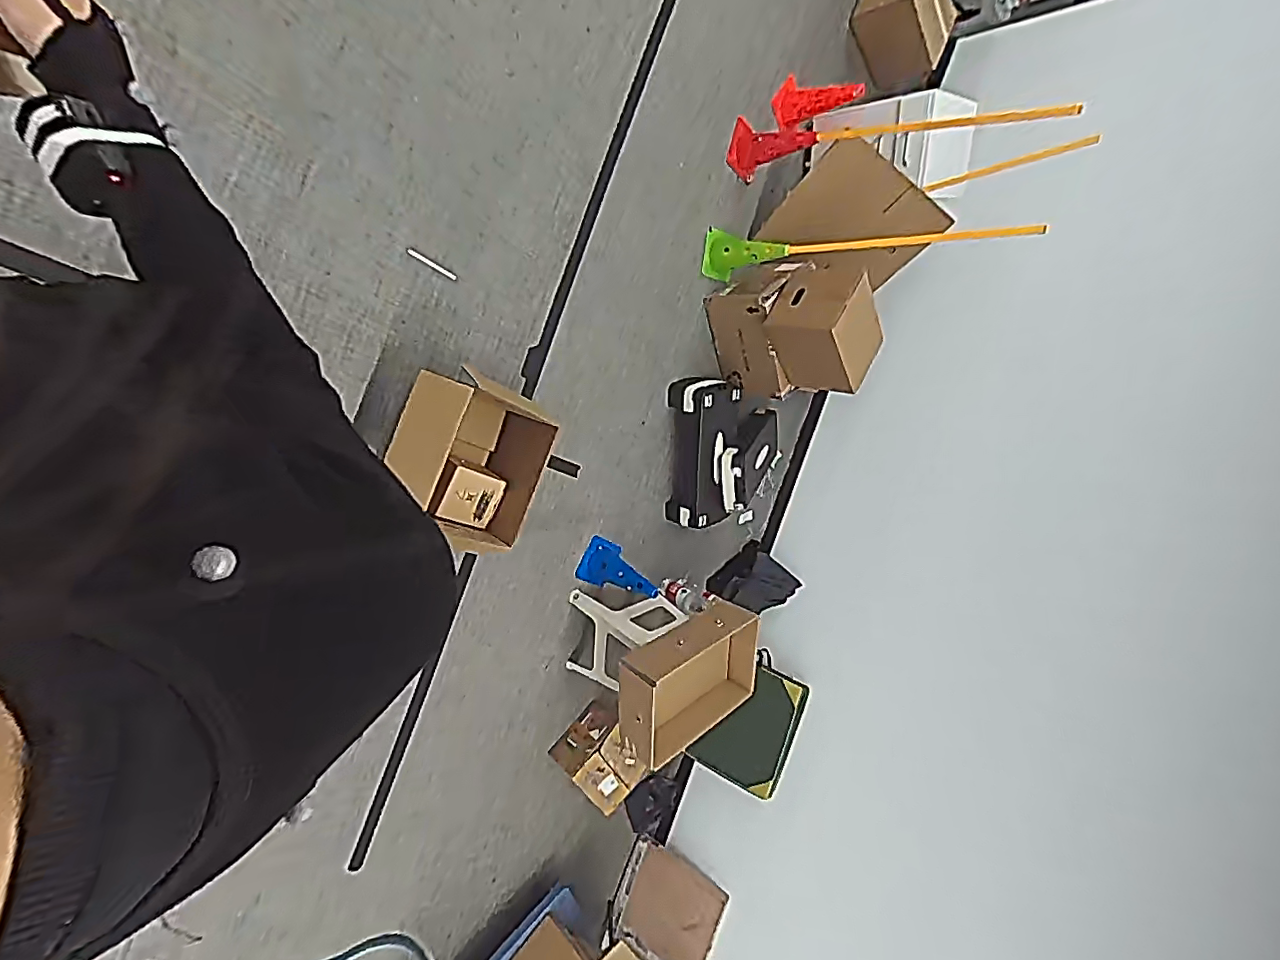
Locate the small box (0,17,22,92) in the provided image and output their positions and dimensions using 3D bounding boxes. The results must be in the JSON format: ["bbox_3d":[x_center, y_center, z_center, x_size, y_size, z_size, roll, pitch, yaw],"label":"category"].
[{"bbox_3d":[-0.622,-0.414,0.401,0.168,0.176,0.179,-18,123,-34],"label":"small box"}]
